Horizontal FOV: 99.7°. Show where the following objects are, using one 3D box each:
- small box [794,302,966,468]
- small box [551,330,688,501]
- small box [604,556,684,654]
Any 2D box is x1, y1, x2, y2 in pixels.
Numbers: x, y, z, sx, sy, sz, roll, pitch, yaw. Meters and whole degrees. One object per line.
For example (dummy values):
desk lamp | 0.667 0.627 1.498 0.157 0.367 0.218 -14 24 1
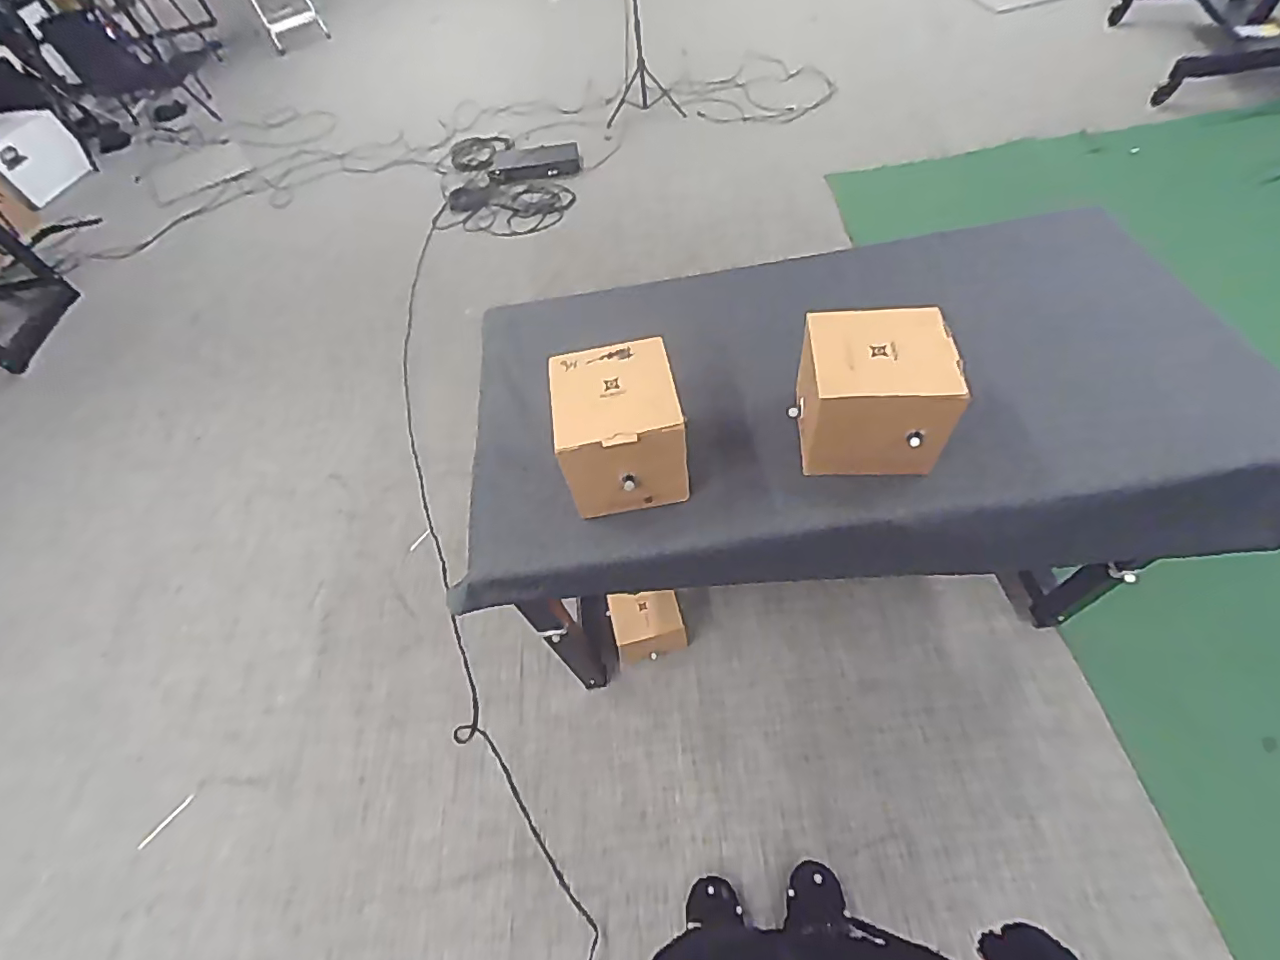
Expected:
small box | 0.323 -0.129 0.769 0.179 0.176 0.168 -1 55 9
small box | -0.027 -0.083 0.783 0.168 0.176 0.179 -10 55 0
small box | 0.013 0.325 1.389 0.168 0.176 0.179 -15 57 -2
